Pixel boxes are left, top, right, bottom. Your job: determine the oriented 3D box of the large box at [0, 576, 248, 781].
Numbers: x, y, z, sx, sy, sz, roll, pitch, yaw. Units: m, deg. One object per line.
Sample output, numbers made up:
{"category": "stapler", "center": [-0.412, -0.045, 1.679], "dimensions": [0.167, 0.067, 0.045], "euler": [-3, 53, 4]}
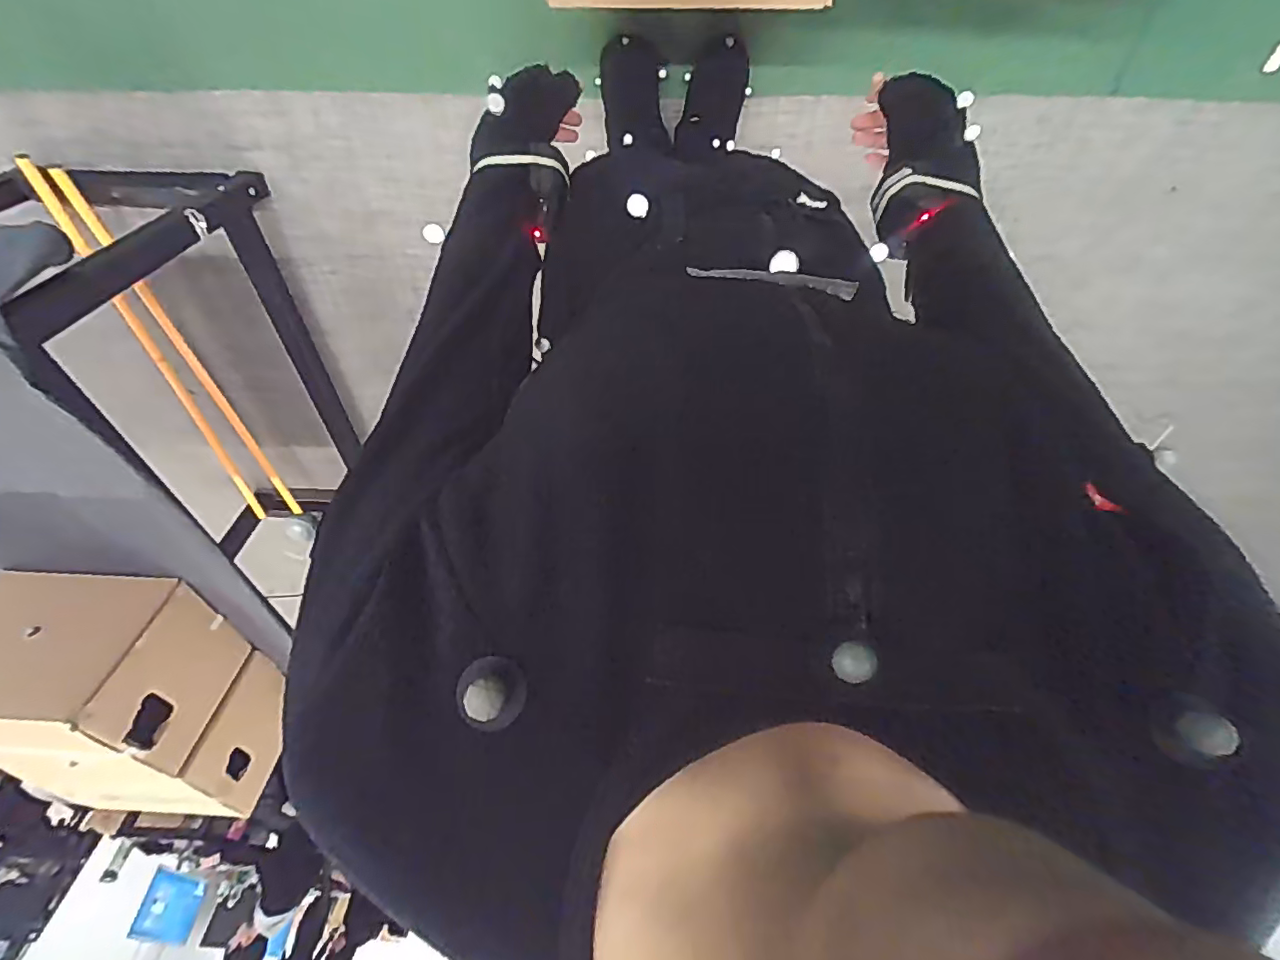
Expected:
{"category": "large box", "center": [-1.179, 0.419, 1.147], "dimensions": [0.408, 0.320, 0.320], "euler": [1, 135, 1]}
